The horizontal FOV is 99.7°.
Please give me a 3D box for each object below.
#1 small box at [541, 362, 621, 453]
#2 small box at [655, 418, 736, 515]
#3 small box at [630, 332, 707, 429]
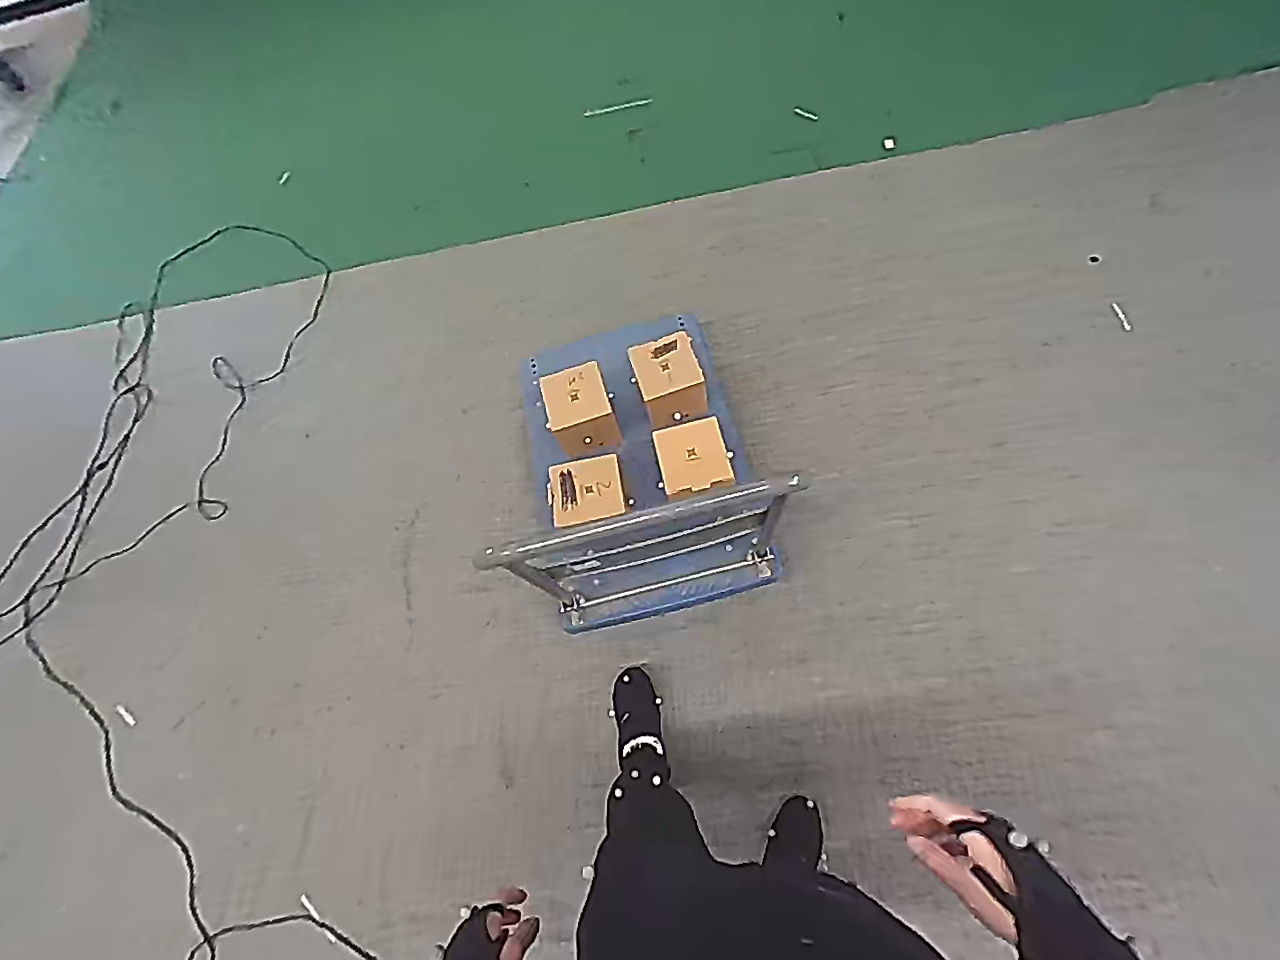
[{"bbox_3d":[-0.159,-0.191,1.495,0.168,0.176,0.179,-17,66,0],"label":"small box"},{"bbox_3d":[0.140,-0.030,1.382,0.168,0.176,0.179,-14,67,3],"label":"small box"},{"bbox_3d":[0.081,-0.270,1.491,0.168,0.176,0.179,-18,67,2],"label":"small box"}]
